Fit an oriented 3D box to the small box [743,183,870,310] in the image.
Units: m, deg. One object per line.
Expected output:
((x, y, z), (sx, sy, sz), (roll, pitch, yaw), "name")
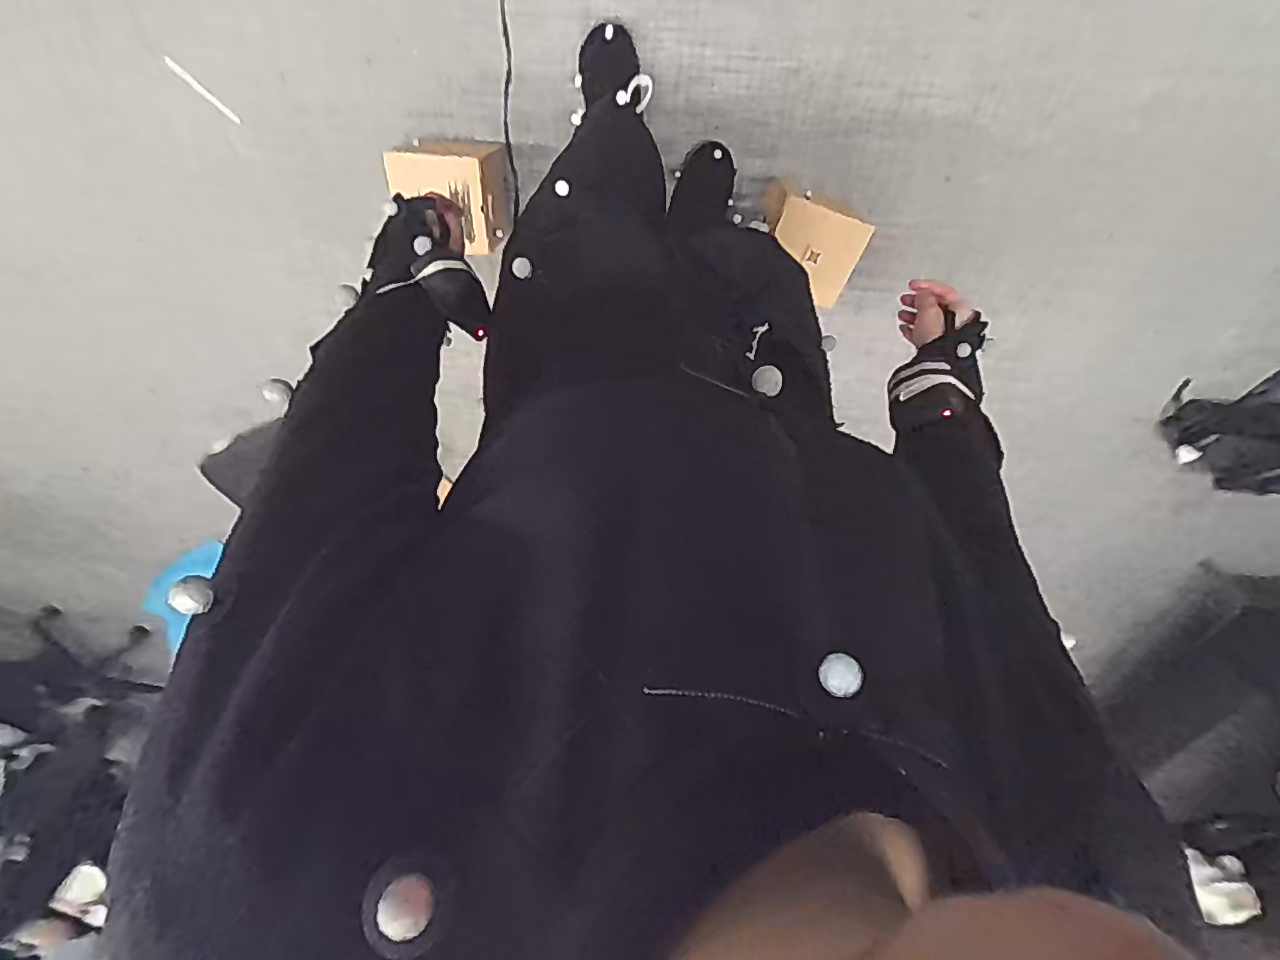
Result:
((0.322, -0.472, 1.084), (0.179, 0.176, 0.168), (15, 129, -8), "small box")
